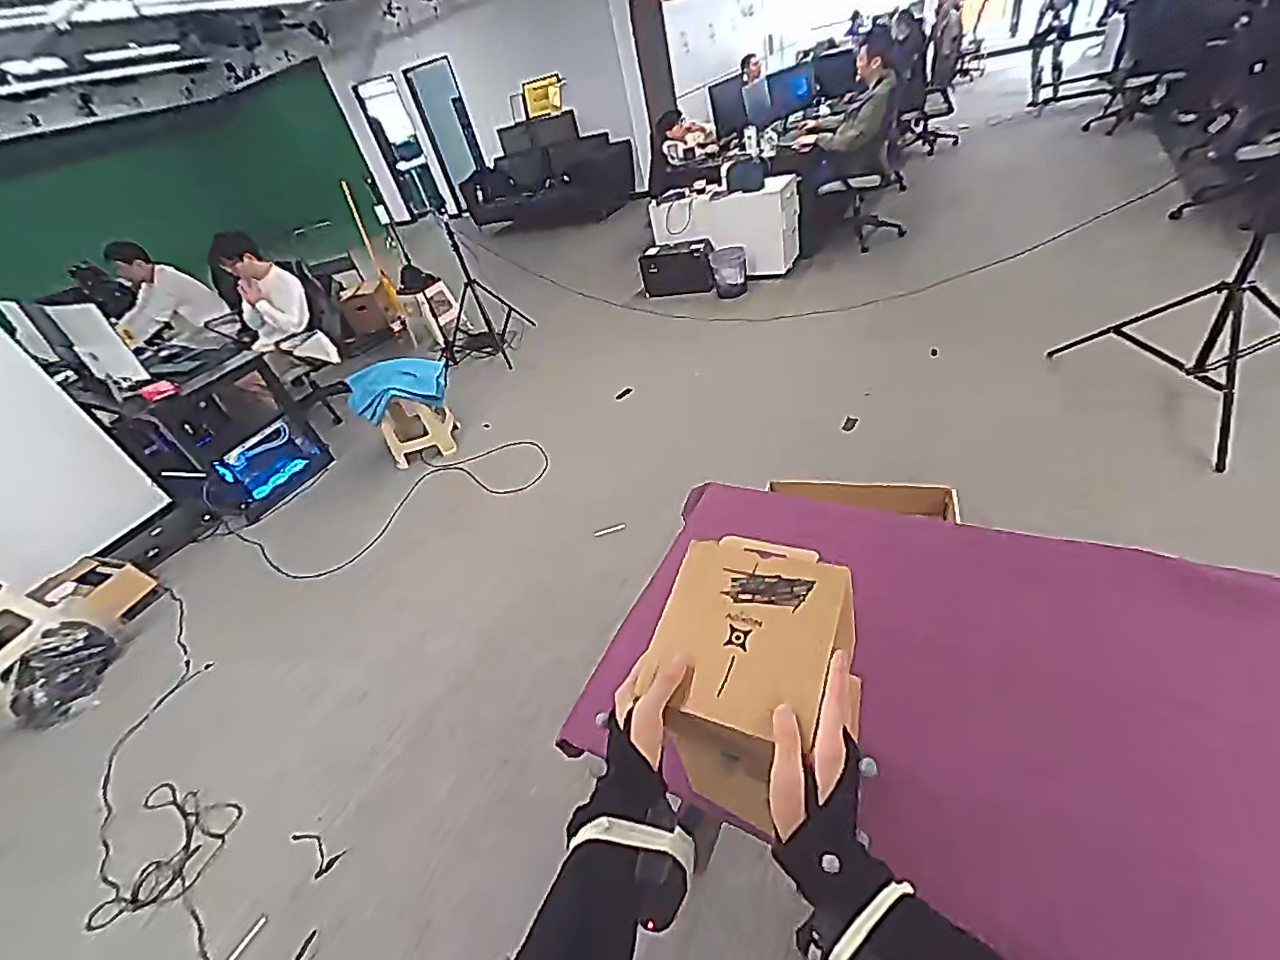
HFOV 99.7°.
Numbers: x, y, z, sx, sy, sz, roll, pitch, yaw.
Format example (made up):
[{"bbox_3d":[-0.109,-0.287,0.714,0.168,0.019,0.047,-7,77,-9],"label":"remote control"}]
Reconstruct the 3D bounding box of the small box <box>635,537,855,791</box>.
[{"bbox_3d":[0.120,0.187,0.559,0.168,0.176,0.179,8,56,29],"label":"small box"}]

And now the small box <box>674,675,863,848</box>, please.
[{"bbox_3d":[0.171,0.332,0.693,0.179,0.176,0.168,13,46,33],"label":"small box"}]
